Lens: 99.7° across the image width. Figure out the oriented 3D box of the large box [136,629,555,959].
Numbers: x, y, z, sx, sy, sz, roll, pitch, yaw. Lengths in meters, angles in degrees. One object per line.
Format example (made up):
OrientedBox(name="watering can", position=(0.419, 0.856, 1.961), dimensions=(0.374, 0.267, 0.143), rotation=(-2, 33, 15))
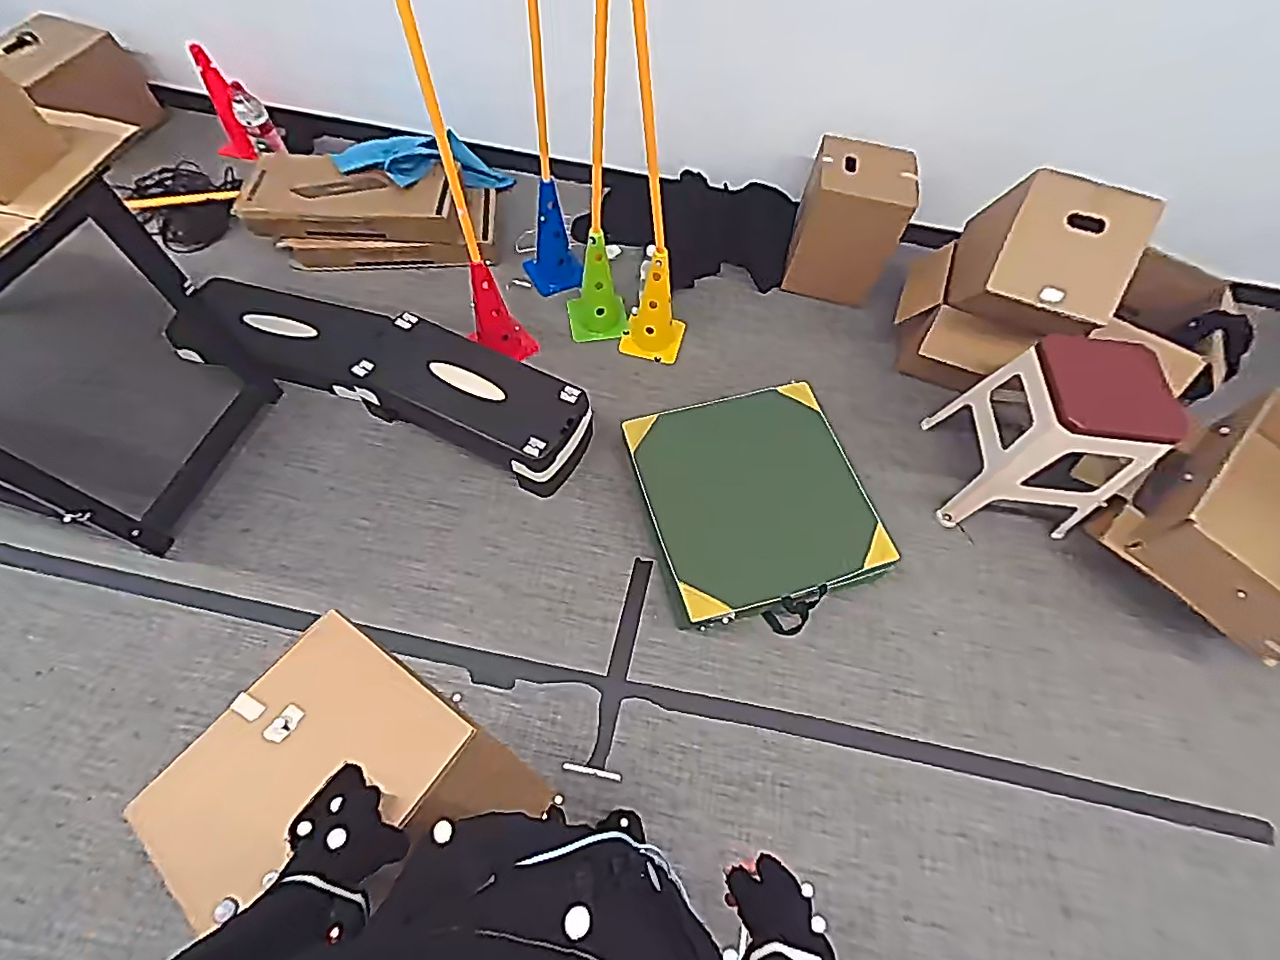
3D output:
OrientedBox(name="large box", position=(-0.383, 0.488, 0.806), dimensions=(0.320, 0.408, 0.320), rotation=(26, 60, 26))
